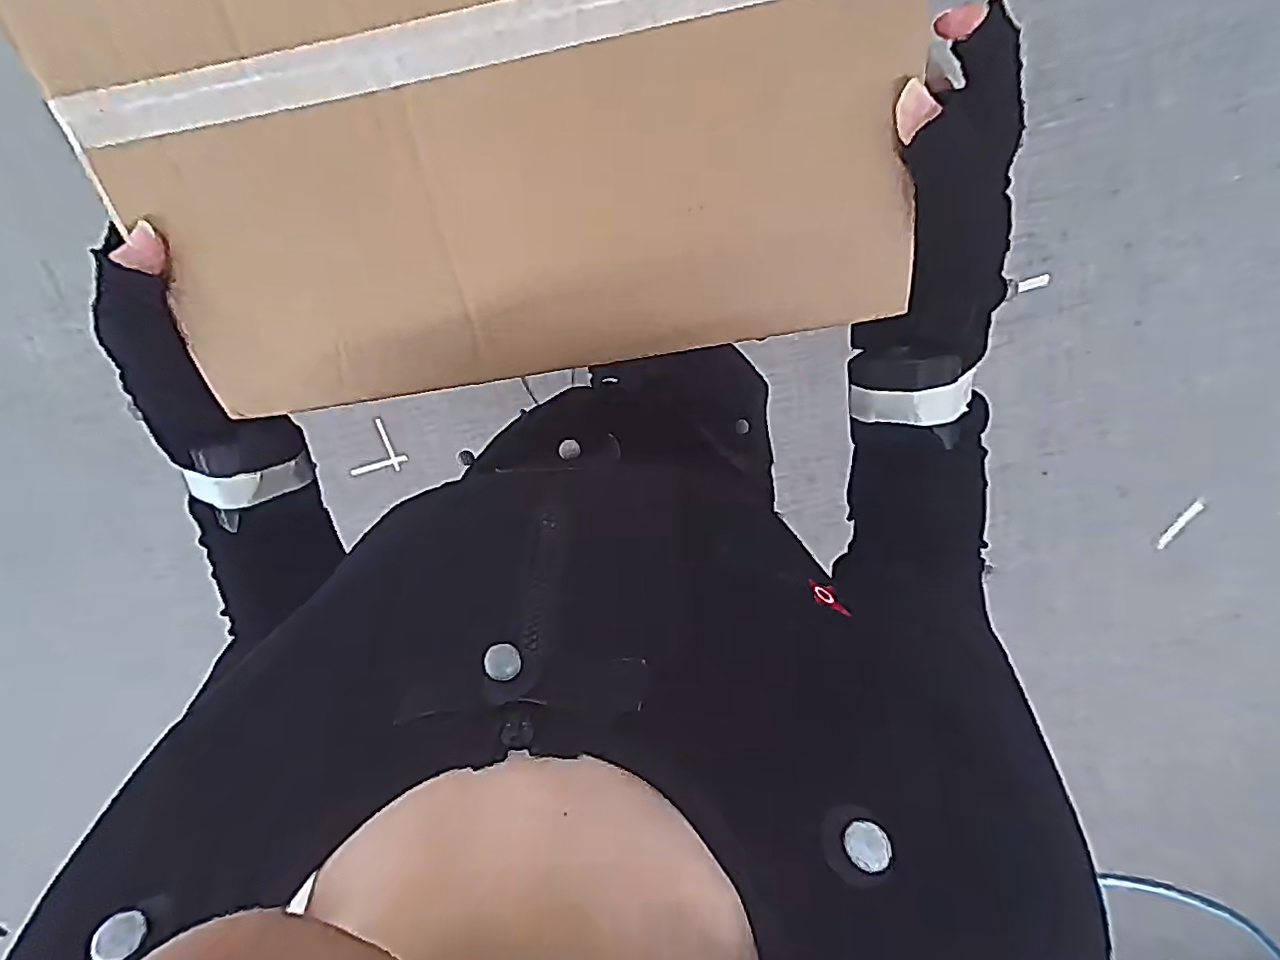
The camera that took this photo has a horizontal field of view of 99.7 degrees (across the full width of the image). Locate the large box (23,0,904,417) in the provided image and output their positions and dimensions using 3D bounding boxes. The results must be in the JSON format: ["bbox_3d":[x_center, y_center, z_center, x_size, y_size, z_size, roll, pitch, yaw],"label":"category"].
[{"bbox_3d":[-0.074,-0.273,0.386,0.408,0.320,0.320,-8,117,5],"label":"large box"}]
